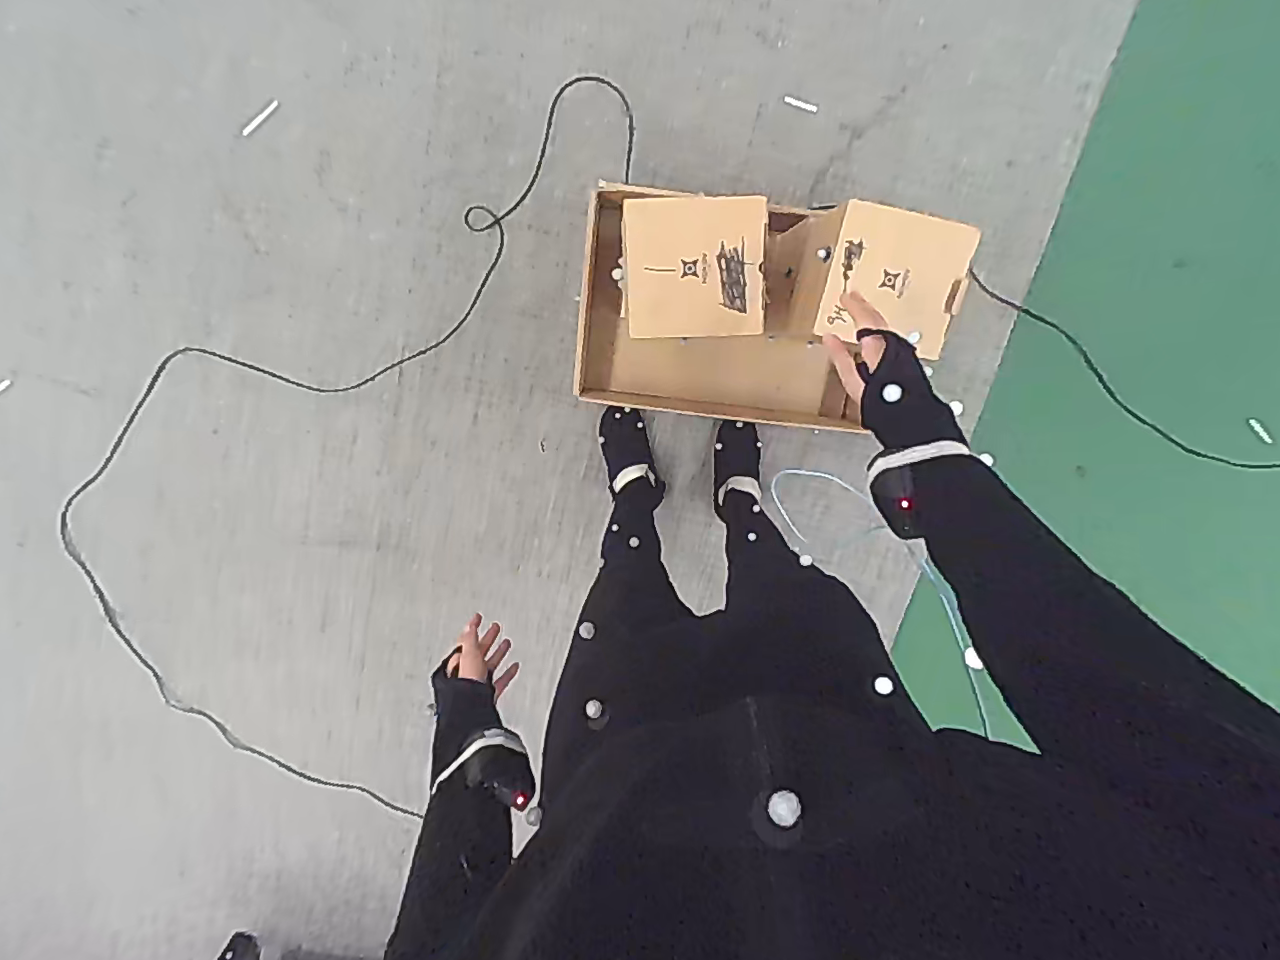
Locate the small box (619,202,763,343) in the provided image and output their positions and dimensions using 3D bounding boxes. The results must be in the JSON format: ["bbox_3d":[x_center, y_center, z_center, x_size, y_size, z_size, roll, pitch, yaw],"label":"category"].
[{"bbox_3d":[0.060,-0.279,0.750,0.179,0.176,0.168,-2,106,-1],"label":"small box"}]

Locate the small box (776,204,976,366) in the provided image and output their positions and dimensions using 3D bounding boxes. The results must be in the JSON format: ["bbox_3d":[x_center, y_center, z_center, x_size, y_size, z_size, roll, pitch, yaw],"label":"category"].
[{"bbox_3d":[0.314,-0.264,0.759,0.179,0.176,0.168,11,104,-4],"label":"small box"}]

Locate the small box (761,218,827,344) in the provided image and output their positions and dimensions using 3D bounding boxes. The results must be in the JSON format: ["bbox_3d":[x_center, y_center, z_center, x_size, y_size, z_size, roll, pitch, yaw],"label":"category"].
[{"bbox_3d":[0.314,-0.320,0.915,0.168,0.176,0.179,9,105,-3],"label":"small box"}]
